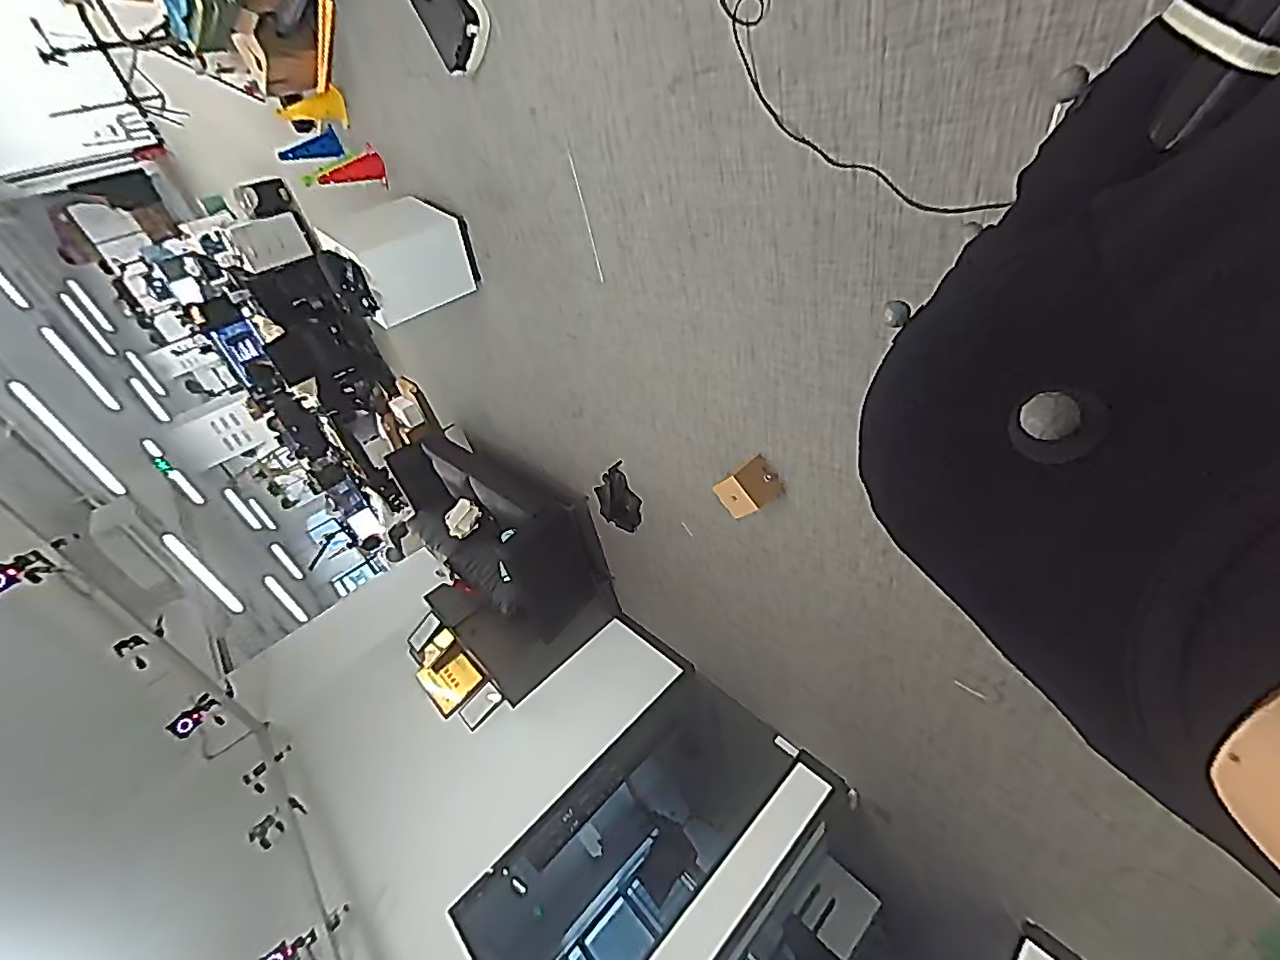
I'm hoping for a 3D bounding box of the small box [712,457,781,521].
[{"bbox_3d":[0.427,0.036,2.166,0.168,0.176,0.179,52,152,1],"label":"small box"}]
